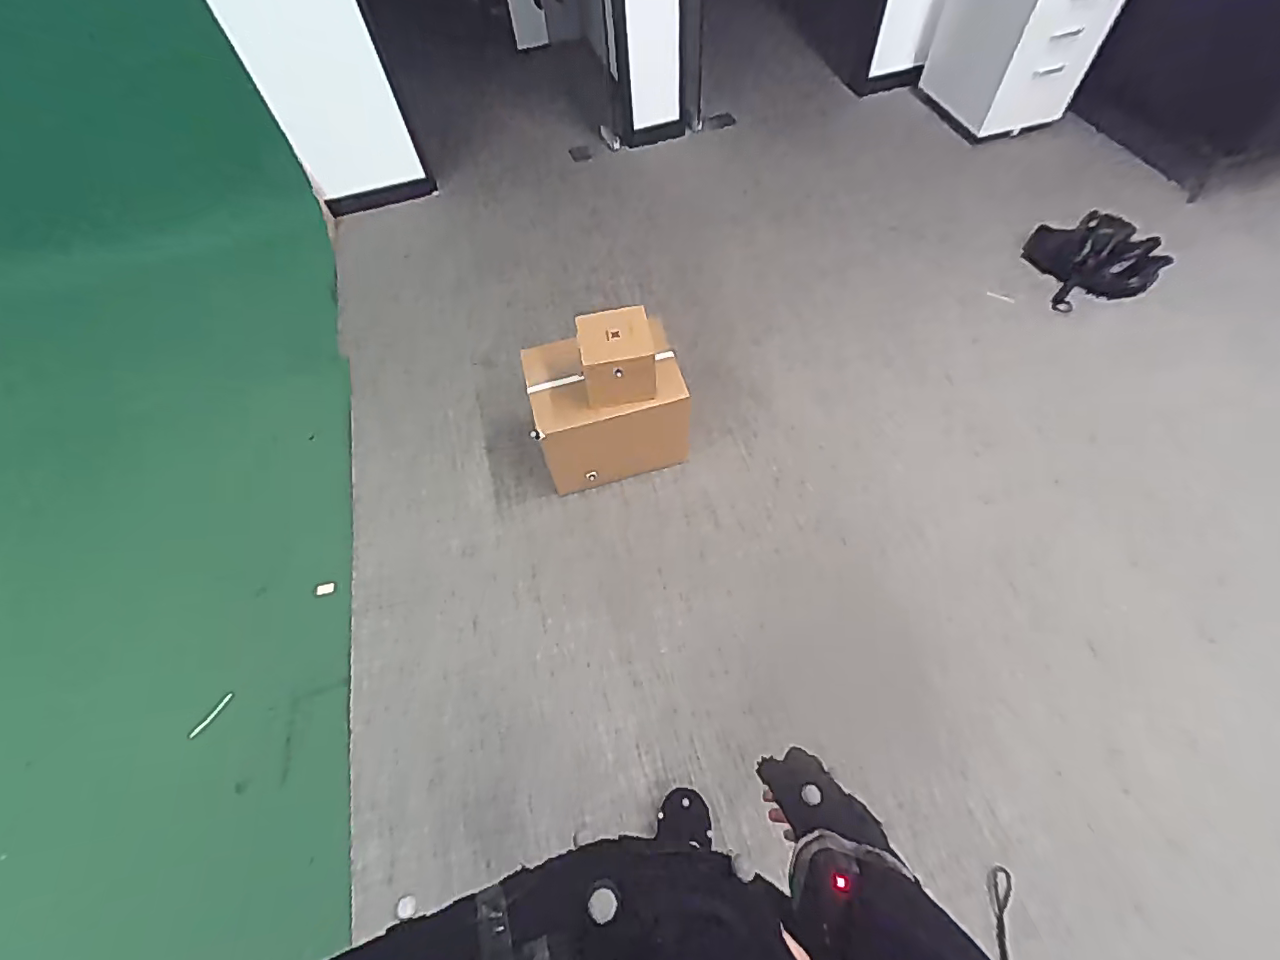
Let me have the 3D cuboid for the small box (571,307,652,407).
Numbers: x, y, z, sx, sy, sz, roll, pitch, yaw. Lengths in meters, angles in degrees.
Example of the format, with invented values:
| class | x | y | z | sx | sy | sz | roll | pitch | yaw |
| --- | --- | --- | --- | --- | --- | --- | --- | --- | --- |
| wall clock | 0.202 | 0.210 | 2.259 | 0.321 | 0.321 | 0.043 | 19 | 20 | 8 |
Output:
| class | x | y | z | sx | sy | sz | roll | pitch | yaw |
| --- | --- | --- | --- | --- | --- | --- | --- | --- | --- |
| small box | -0.068 | -0.302 | 1.355 | 0.179 | 0.176 | 0.168 | -10 | 62 | -4 |
